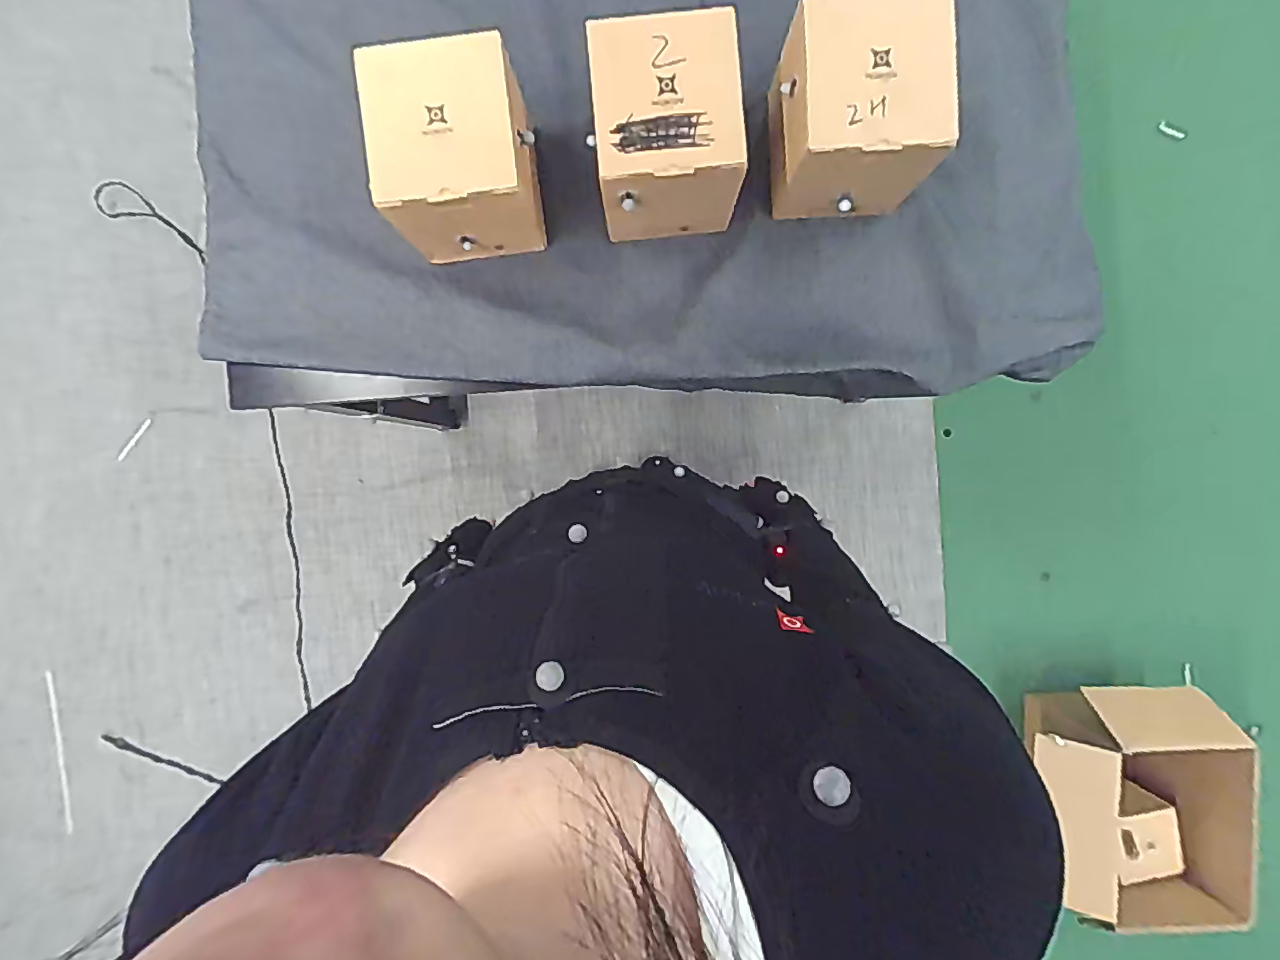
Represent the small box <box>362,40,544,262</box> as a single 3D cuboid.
[{"bbox_3d":[-0.224,-0.402,0.688,0.168,0.176,0.179,-7,92,0],"label":"small box"}]
